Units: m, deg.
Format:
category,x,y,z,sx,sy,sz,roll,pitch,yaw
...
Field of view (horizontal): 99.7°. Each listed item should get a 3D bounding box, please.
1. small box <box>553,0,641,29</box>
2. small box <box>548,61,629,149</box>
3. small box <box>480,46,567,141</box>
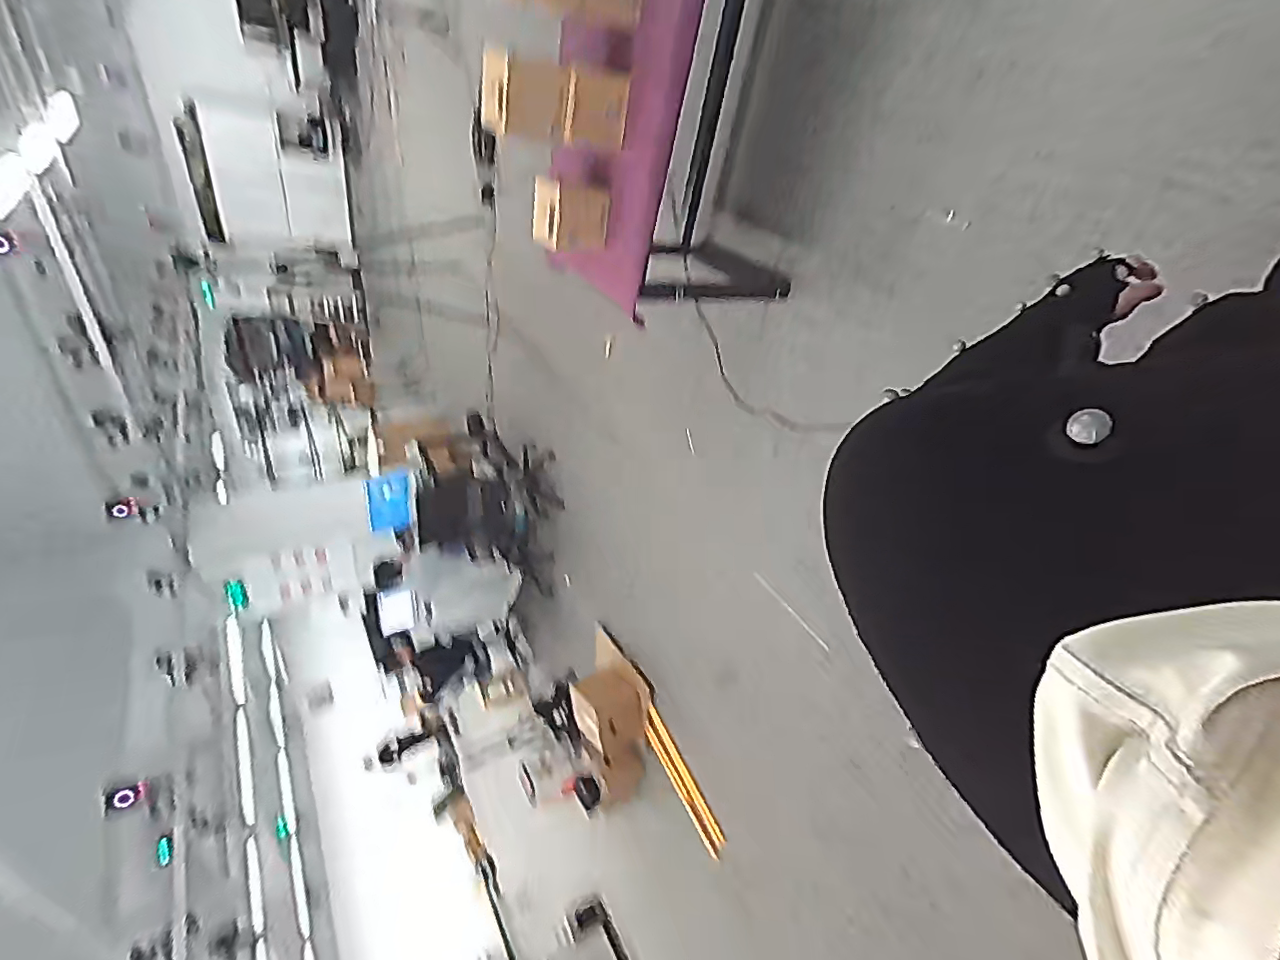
category,x,y,z,sx,sy,sz,roll,pitch,yaw
small box,-0.104,-1.236,1.331,0.179,0.176,0.168,45,135,41
small box,-0.154,-1.024,1.481,0.179,0.176,0.168,45,135,39
small box,-0.307,-1.007,1.416,0.179,0.176,0.168,50,138,37
